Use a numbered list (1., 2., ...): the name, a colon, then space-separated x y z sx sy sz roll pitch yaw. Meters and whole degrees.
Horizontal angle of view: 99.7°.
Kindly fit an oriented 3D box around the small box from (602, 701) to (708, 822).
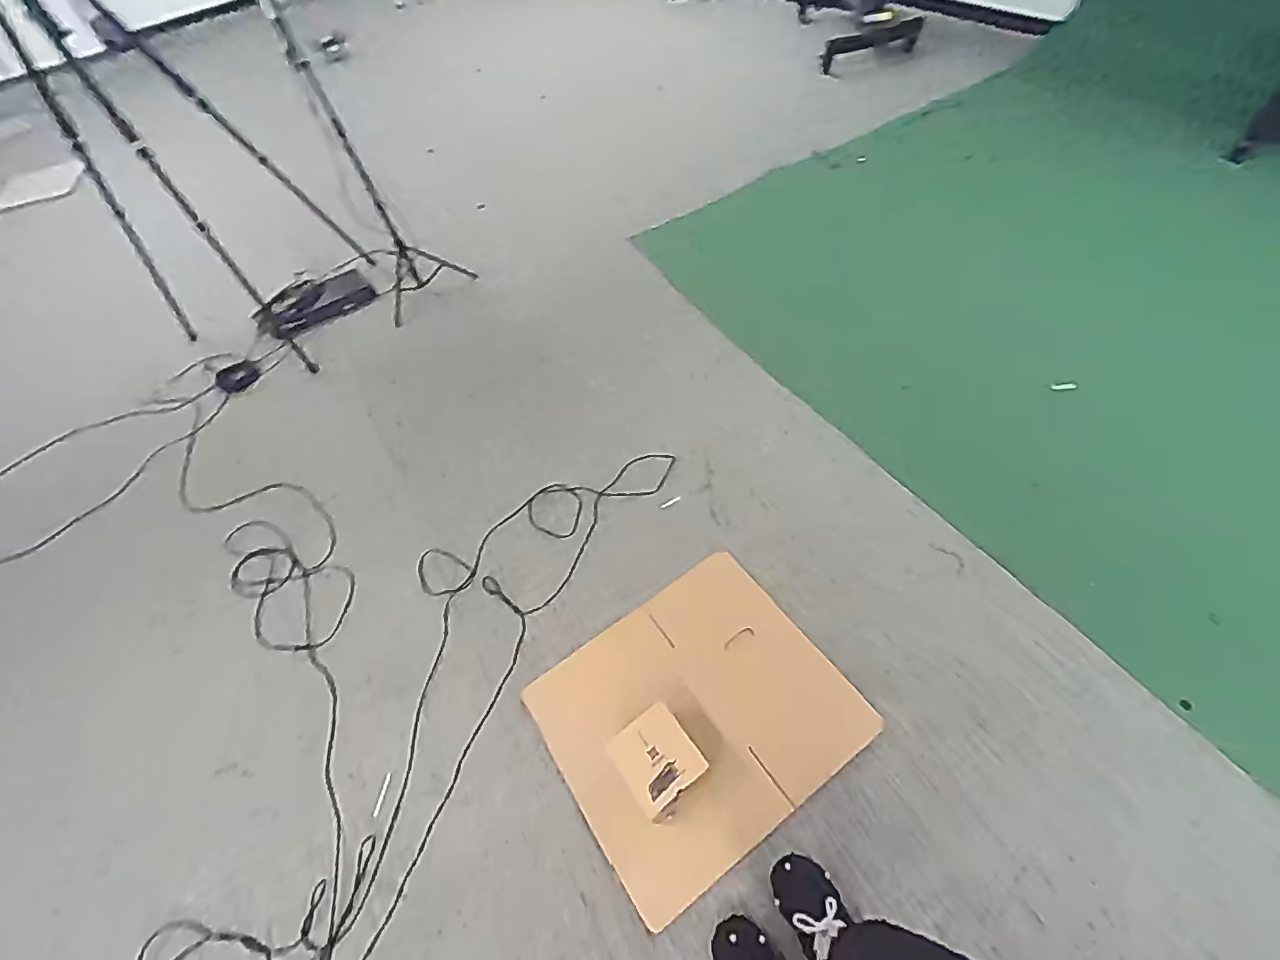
1. small box: 0.041 0.639 1.223 0.168 0.176 0.179 -35 57 -15
